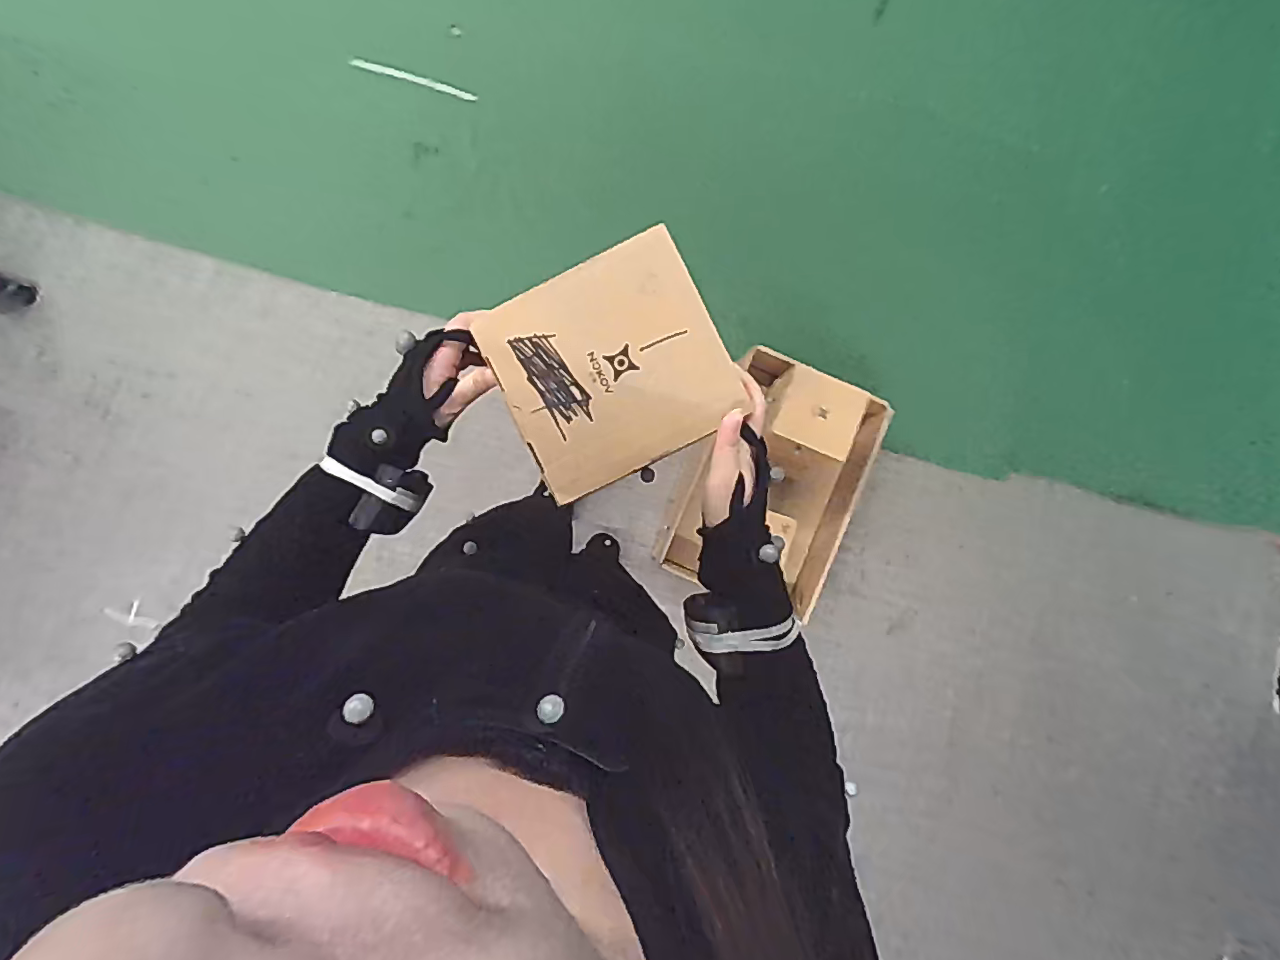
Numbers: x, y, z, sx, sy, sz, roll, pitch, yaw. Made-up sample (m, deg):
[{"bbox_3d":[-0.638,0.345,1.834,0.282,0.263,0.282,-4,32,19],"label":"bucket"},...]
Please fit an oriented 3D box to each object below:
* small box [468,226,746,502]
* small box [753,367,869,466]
[{"bbox_3d":[-0.024,-0.092,0.508,0.179,0.176,0.168,-27,91,2],"label":"small box"},{"bbox_3d":[0.388,-0.138,1.256,0.179,0.176,0.168,24,87,0],"label":"small box"}]
